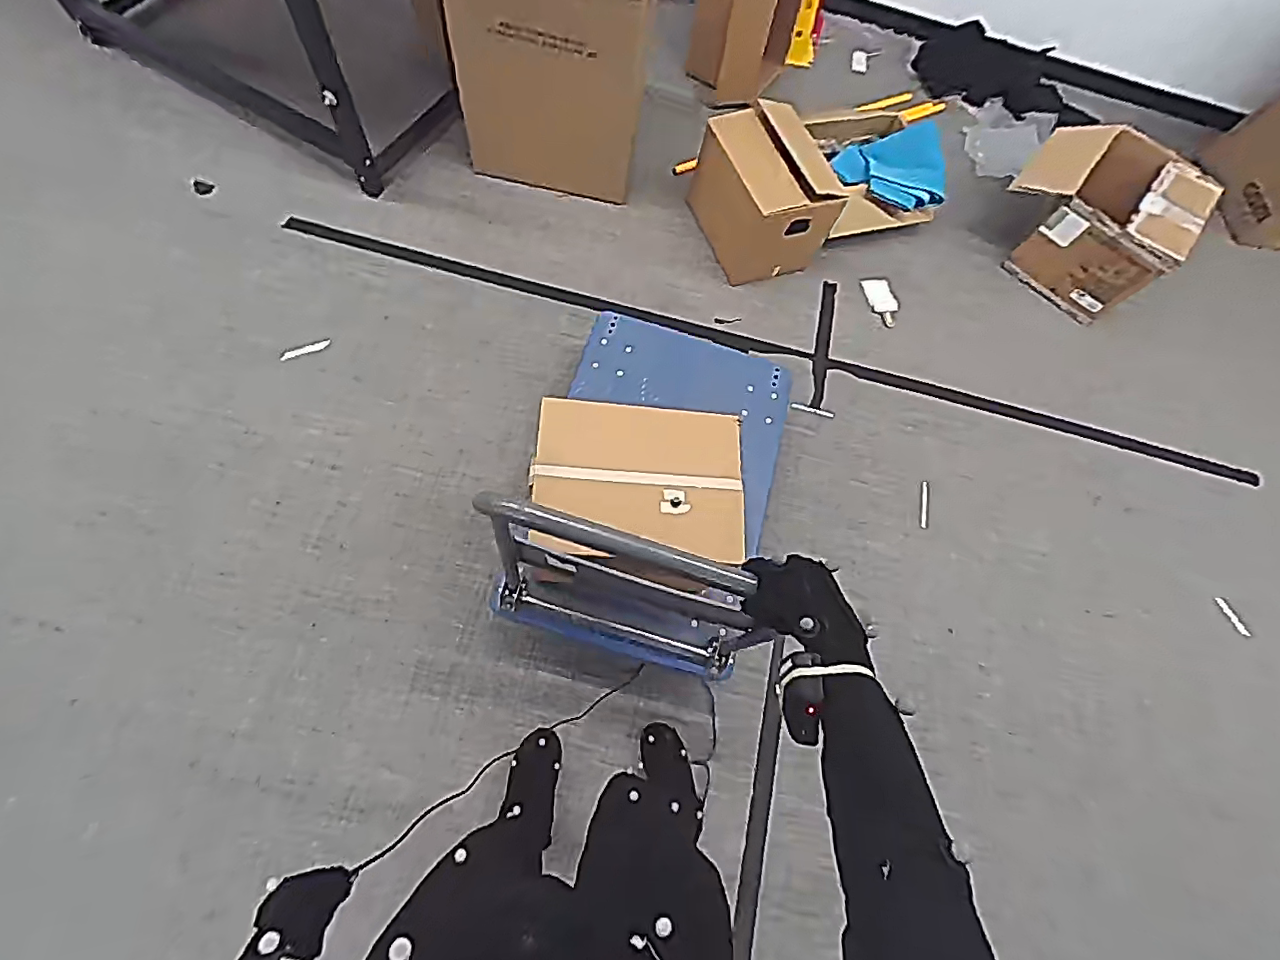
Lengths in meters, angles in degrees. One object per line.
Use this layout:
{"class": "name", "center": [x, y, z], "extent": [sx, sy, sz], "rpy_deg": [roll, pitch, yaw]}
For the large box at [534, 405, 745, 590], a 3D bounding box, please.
{"class": "large box", "center": [-0.019, 0.058, 1.183], "extent": [0.408, 0.320, 0.320], "rpy_deg": [4, 69, -8]}
